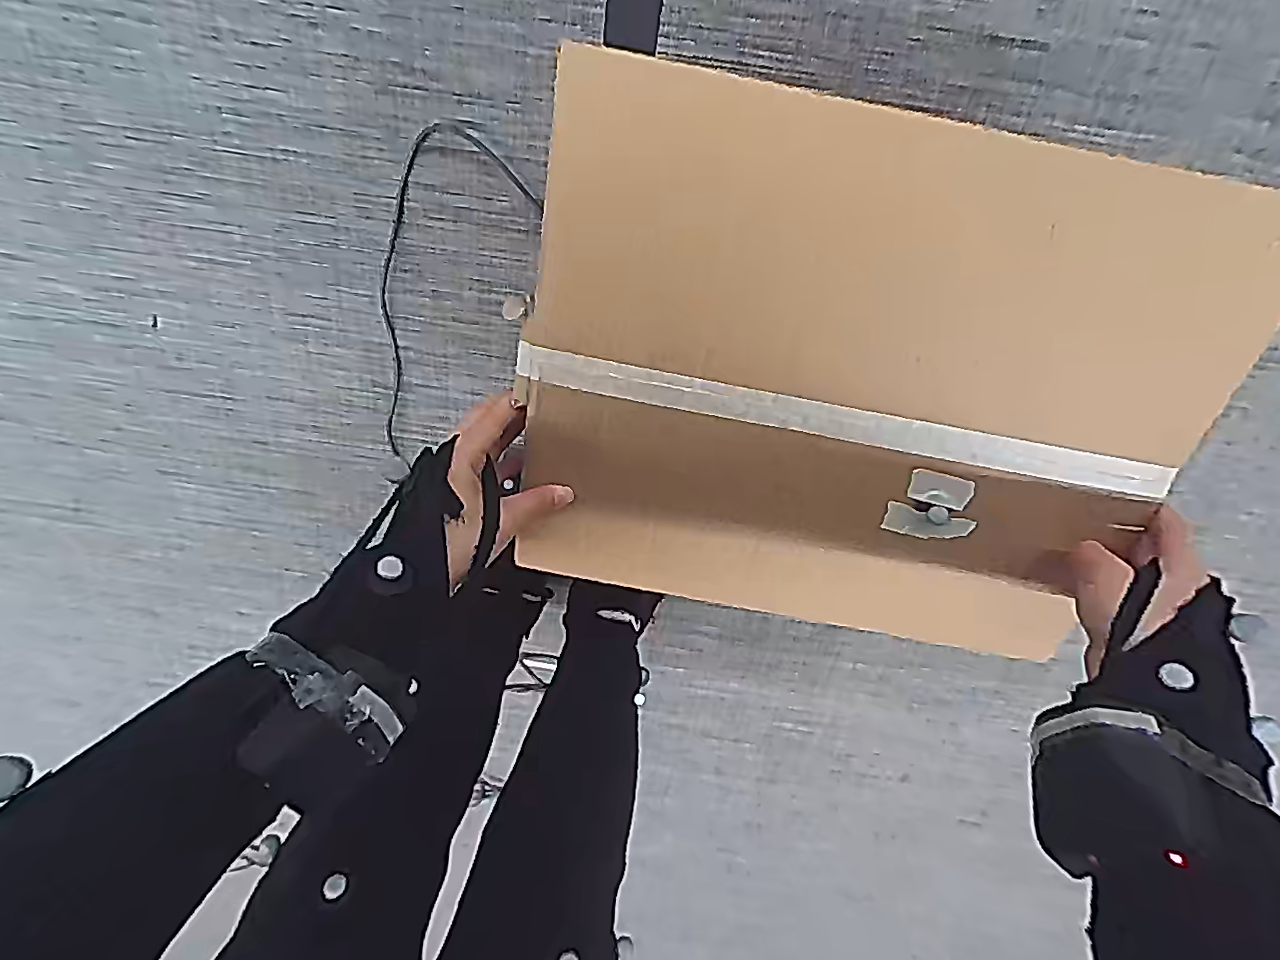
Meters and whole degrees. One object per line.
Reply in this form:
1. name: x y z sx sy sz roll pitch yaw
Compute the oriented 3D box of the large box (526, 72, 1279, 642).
1. large box: 0.138 -0.106 0.478 0.408 0.320 0.320 10 117 -2
